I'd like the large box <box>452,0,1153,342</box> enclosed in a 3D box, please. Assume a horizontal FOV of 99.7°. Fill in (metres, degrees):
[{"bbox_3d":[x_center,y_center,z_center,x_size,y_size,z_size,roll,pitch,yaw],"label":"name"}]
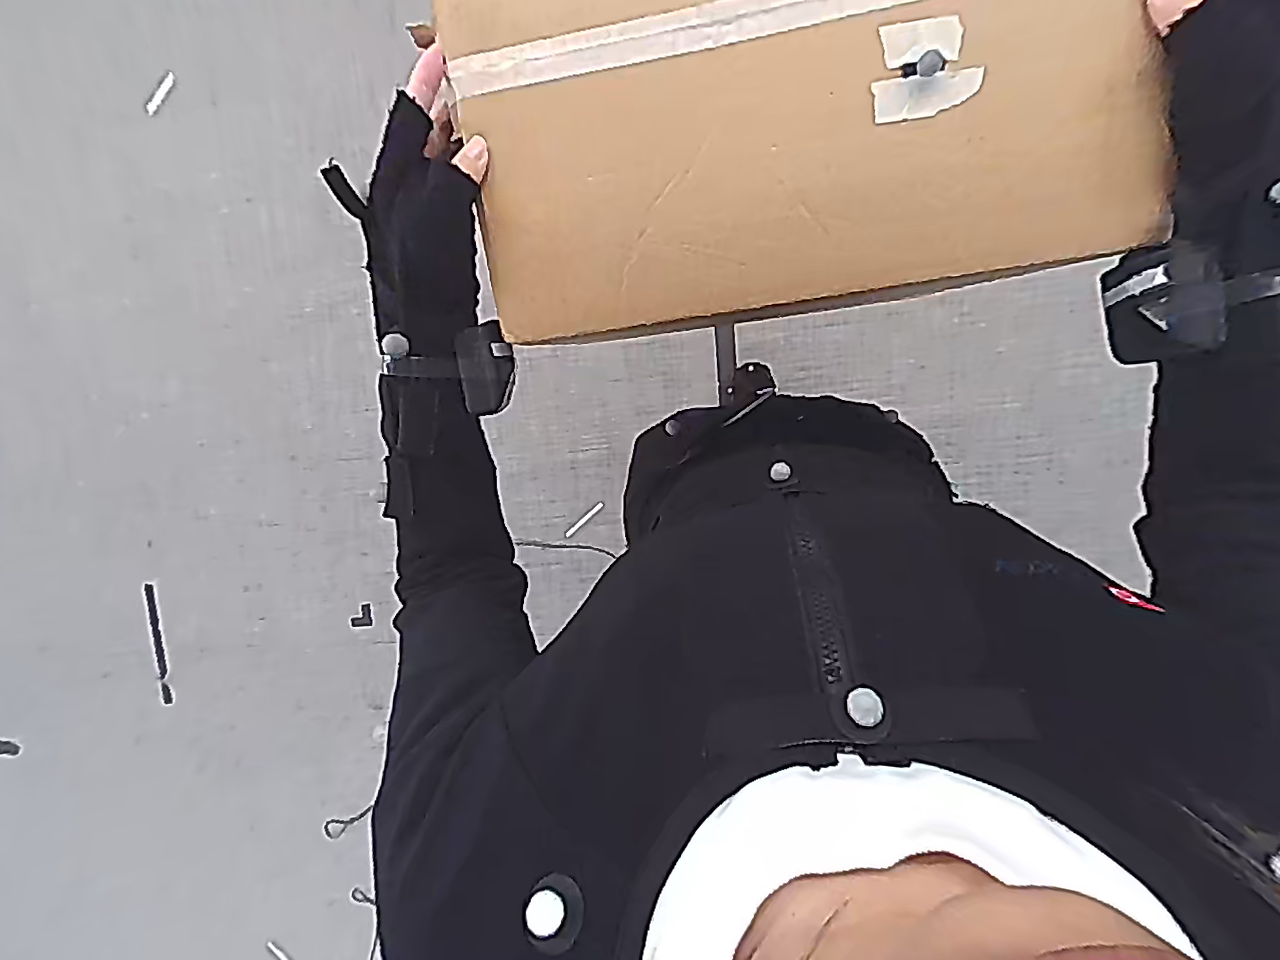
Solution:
[{"bbox_3d":[0.096,-0.307,0.463,0.408,0.320,0.320,-8,104,6],"label":"large box"}]
